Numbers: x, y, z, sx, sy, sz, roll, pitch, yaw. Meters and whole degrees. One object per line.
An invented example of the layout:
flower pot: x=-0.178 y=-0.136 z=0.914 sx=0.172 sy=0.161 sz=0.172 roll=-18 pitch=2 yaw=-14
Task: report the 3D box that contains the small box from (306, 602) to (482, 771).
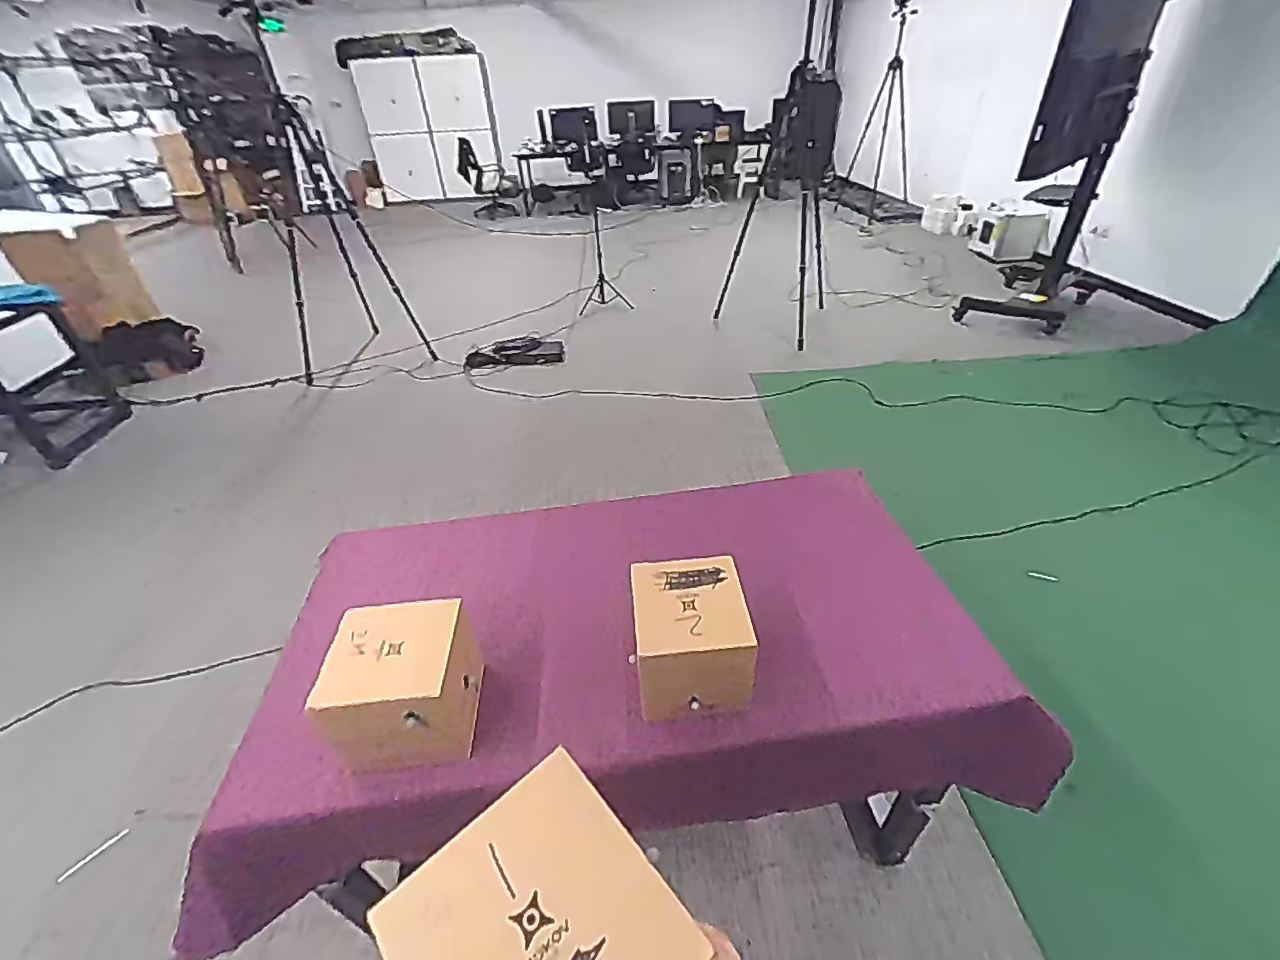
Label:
small box: x=-0.346 y=0.307 z=0.806 sx=0.179 sy=0.176 sz=0.168 roll=-6 pitch=36 yaw=-2
